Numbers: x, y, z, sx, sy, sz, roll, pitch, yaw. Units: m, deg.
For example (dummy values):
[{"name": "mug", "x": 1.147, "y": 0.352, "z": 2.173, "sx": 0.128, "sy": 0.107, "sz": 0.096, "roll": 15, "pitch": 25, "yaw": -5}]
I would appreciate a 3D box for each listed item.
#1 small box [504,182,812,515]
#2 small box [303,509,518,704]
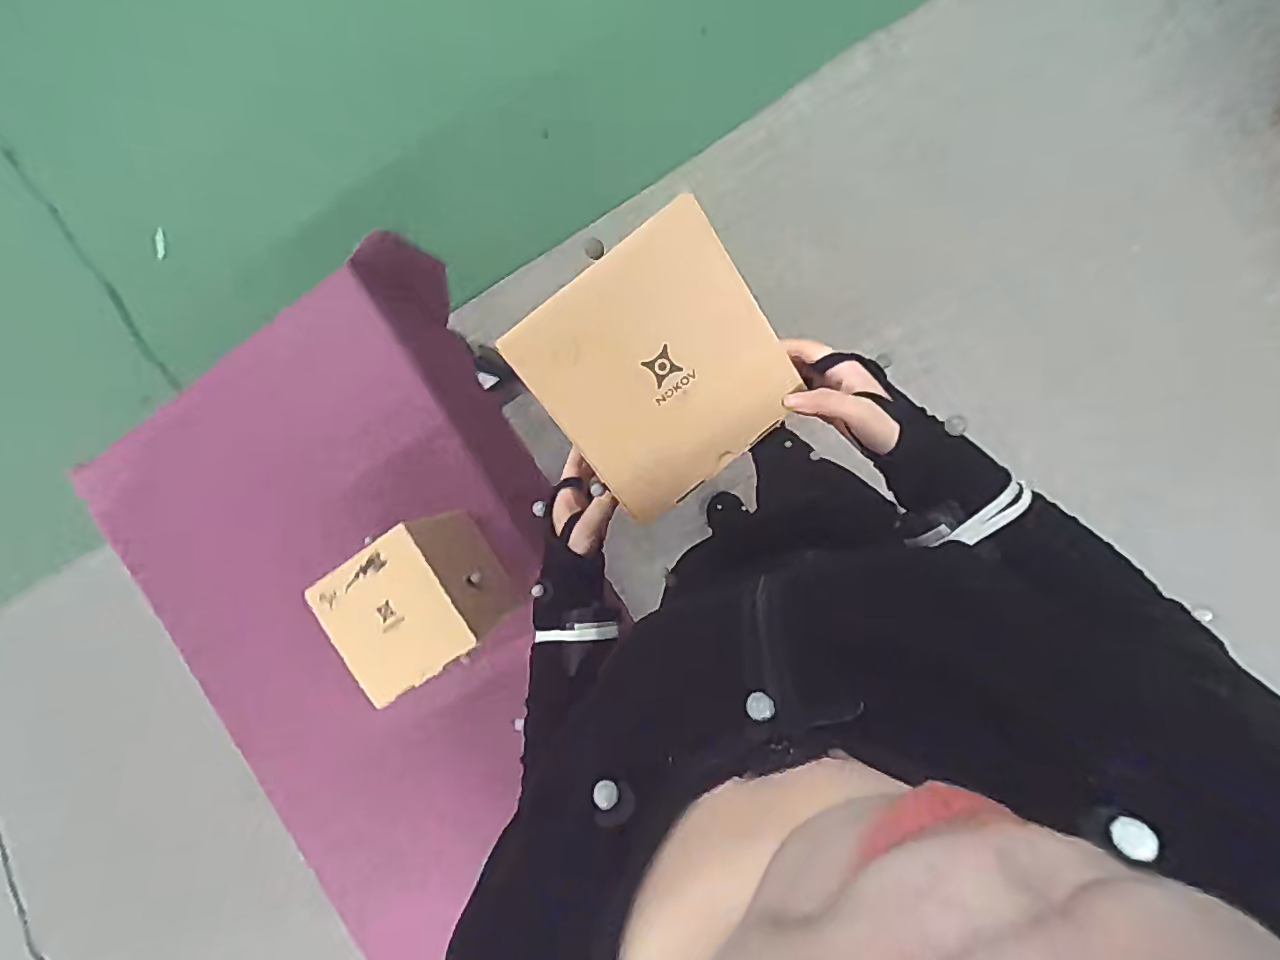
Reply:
[{"name": "small box", "x": 0.002, "y": -0.105, "z": 0.455, "sx": 0.168, "sy": 0.176, "sz": 0.179, "roll": -37, "pitch": 112, "yaw": 0}, {"name": "small box", "x": -0.295, "y": 0.158, "z": 0.735, "sx": 0.168, "sy": 0.176, "sz": 0.179, "roll": -34, "pitch": 89, "yaw": 8}]
